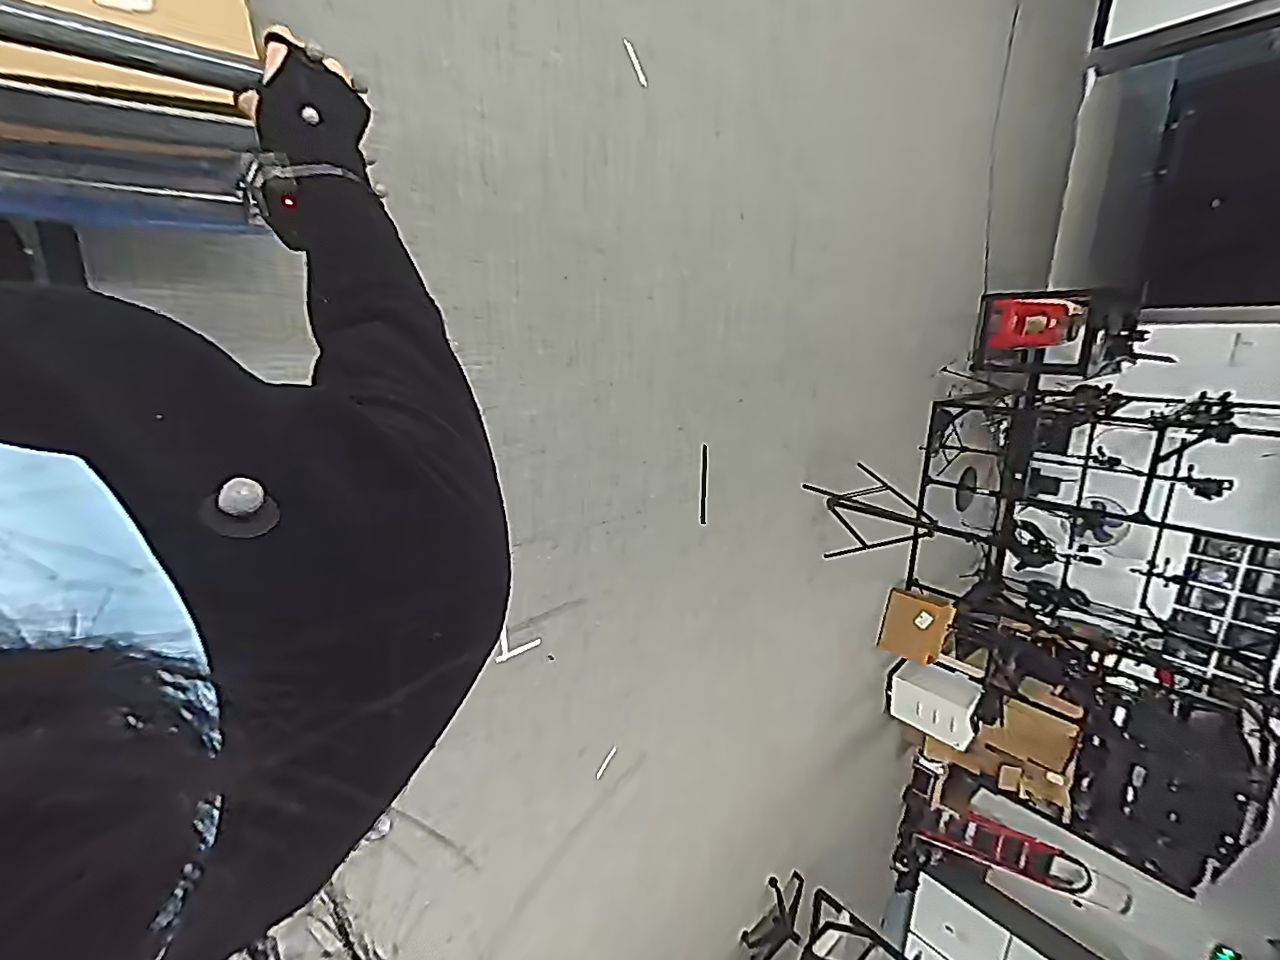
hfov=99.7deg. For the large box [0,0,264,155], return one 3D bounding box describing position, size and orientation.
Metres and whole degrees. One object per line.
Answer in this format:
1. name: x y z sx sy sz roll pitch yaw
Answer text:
1. large box: -0.813 -0.664 0.729 0.408 0.320 0.320 -21 115 -40
